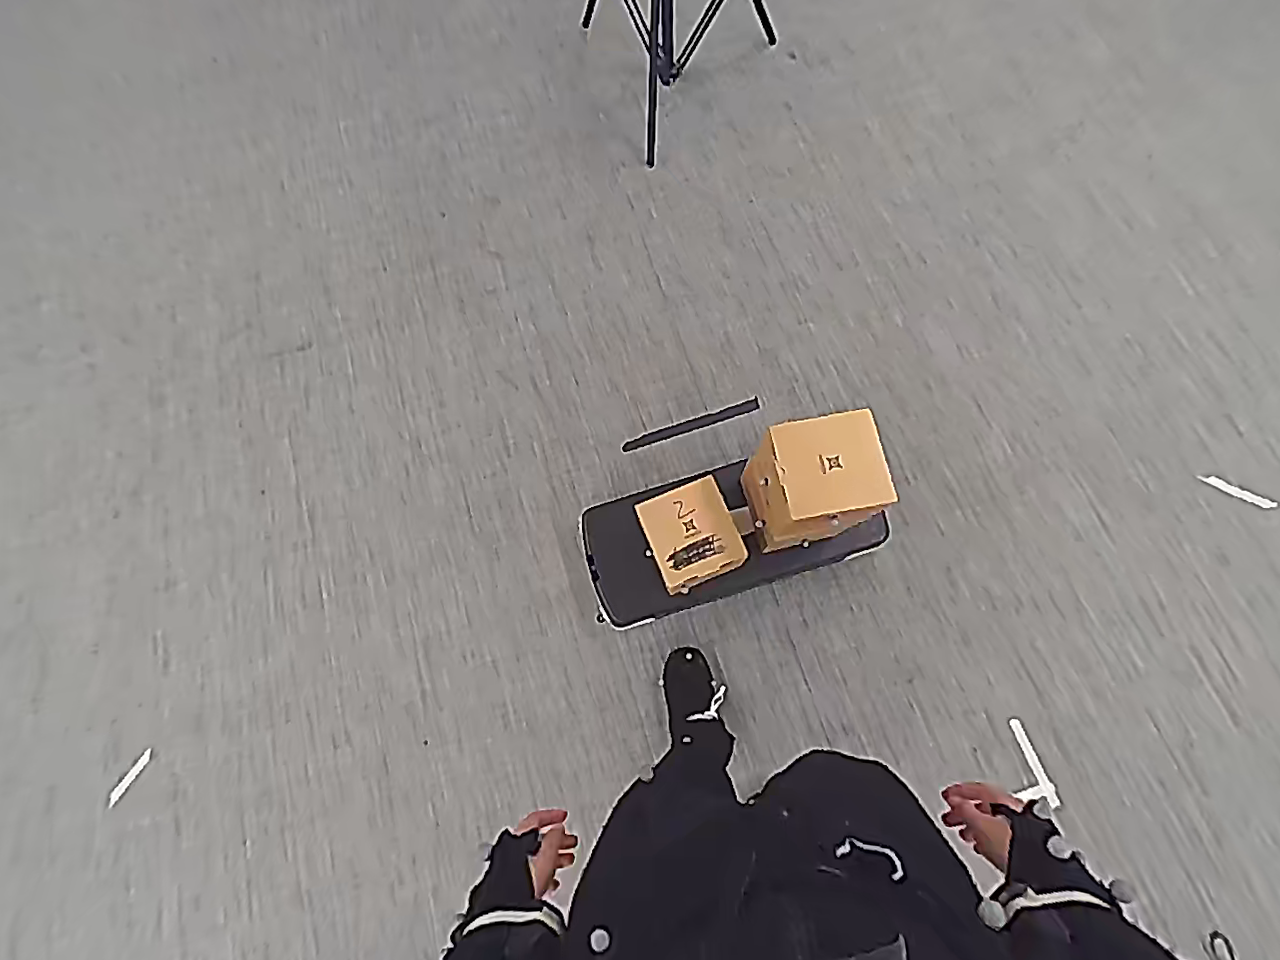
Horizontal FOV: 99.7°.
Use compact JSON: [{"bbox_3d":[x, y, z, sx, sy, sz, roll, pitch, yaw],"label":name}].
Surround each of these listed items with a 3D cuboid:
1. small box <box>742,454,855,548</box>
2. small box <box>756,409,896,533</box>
[{"bbox_3d":[0.317,0.037,1.115,0.168,0.176,0.179,-13,74,0],"label":"small box"},{"bbox_3d":[0.317,-0.009,0.958,0.179,0.176,0.168,-11,75,2],"label":"small box"}]
